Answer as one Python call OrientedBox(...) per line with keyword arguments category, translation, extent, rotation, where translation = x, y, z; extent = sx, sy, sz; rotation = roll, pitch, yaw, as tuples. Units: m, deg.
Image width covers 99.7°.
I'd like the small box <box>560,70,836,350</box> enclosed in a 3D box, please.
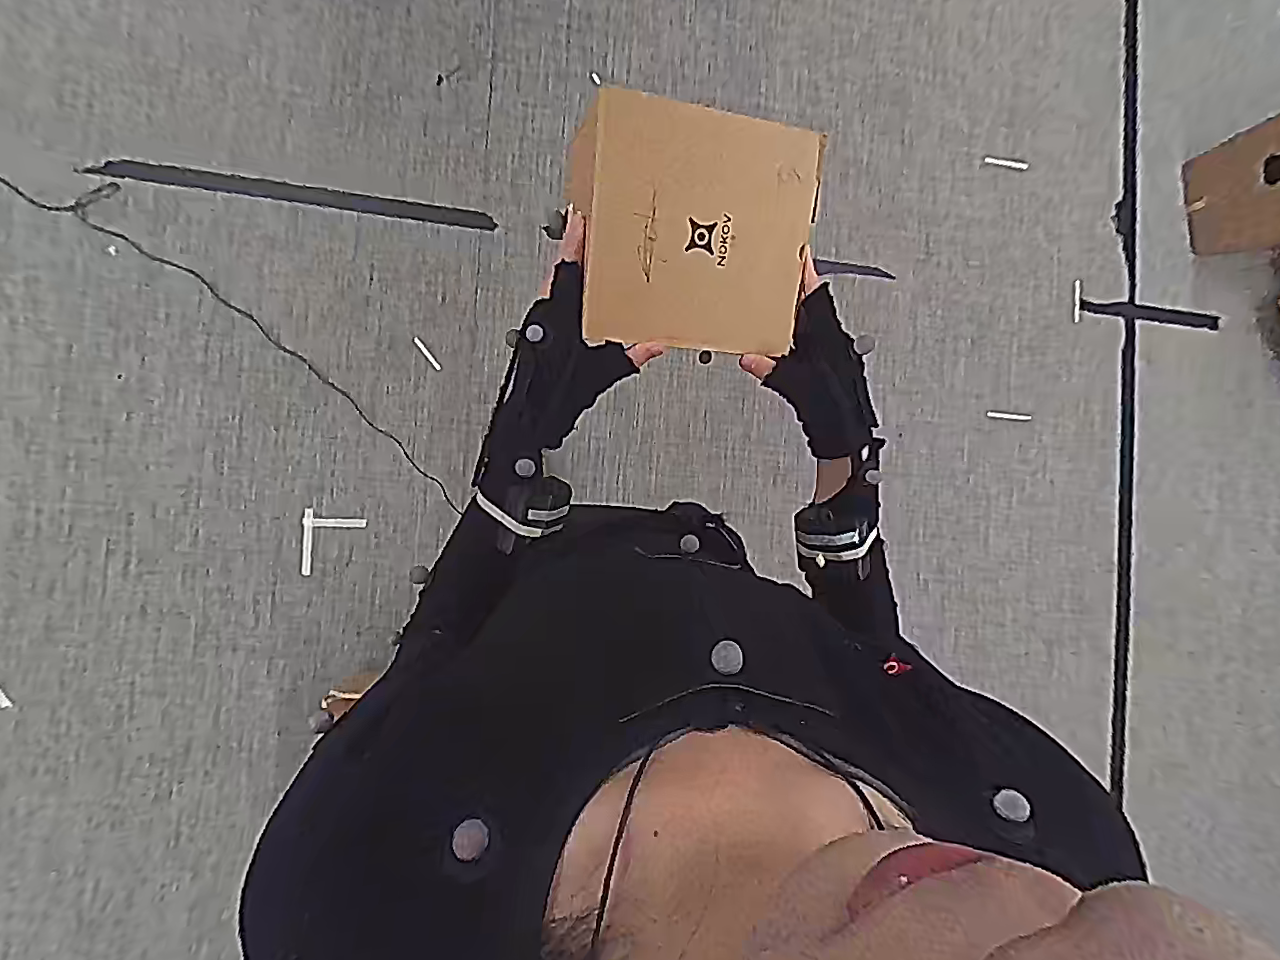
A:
OrientedBox(category="small box", translation=(0.032, -0.209, 0.464), extent=(0.179, 0.176, 0.168), rotation=(1, 107, -15))
